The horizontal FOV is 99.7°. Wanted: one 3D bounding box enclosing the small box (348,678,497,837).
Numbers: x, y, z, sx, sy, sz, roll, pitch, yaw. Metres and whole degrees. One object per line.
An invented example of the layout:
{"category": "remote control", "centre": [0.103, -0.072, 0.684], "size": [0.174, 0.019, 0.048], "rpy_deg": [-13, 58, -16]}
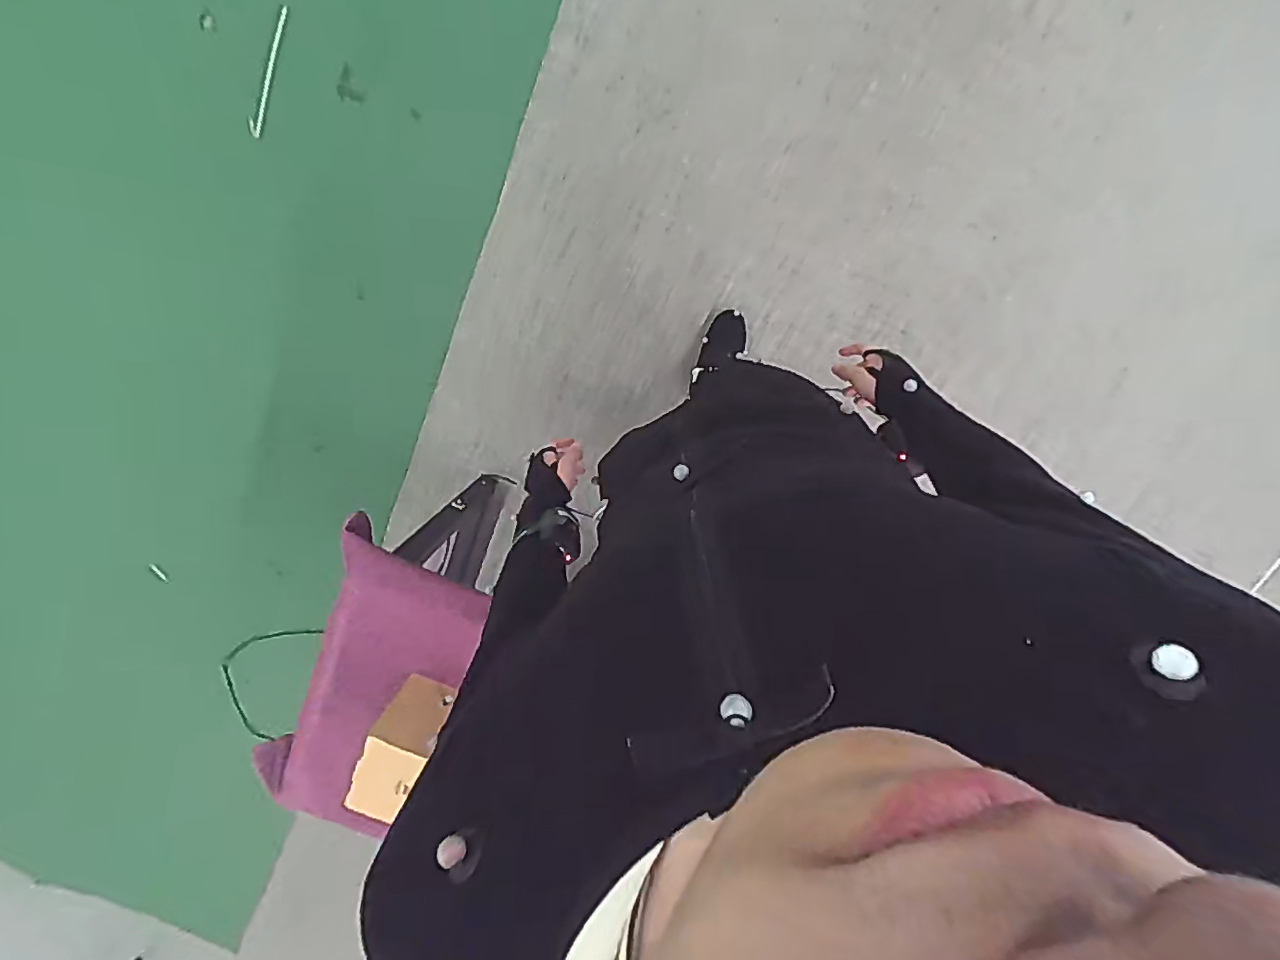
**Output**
{"category": "small box", "centre": [-0.388, 0.493, 0.987], "size": [0.179, 0.176, 0.168], "rpy_deg": [23, 107, -4]}
